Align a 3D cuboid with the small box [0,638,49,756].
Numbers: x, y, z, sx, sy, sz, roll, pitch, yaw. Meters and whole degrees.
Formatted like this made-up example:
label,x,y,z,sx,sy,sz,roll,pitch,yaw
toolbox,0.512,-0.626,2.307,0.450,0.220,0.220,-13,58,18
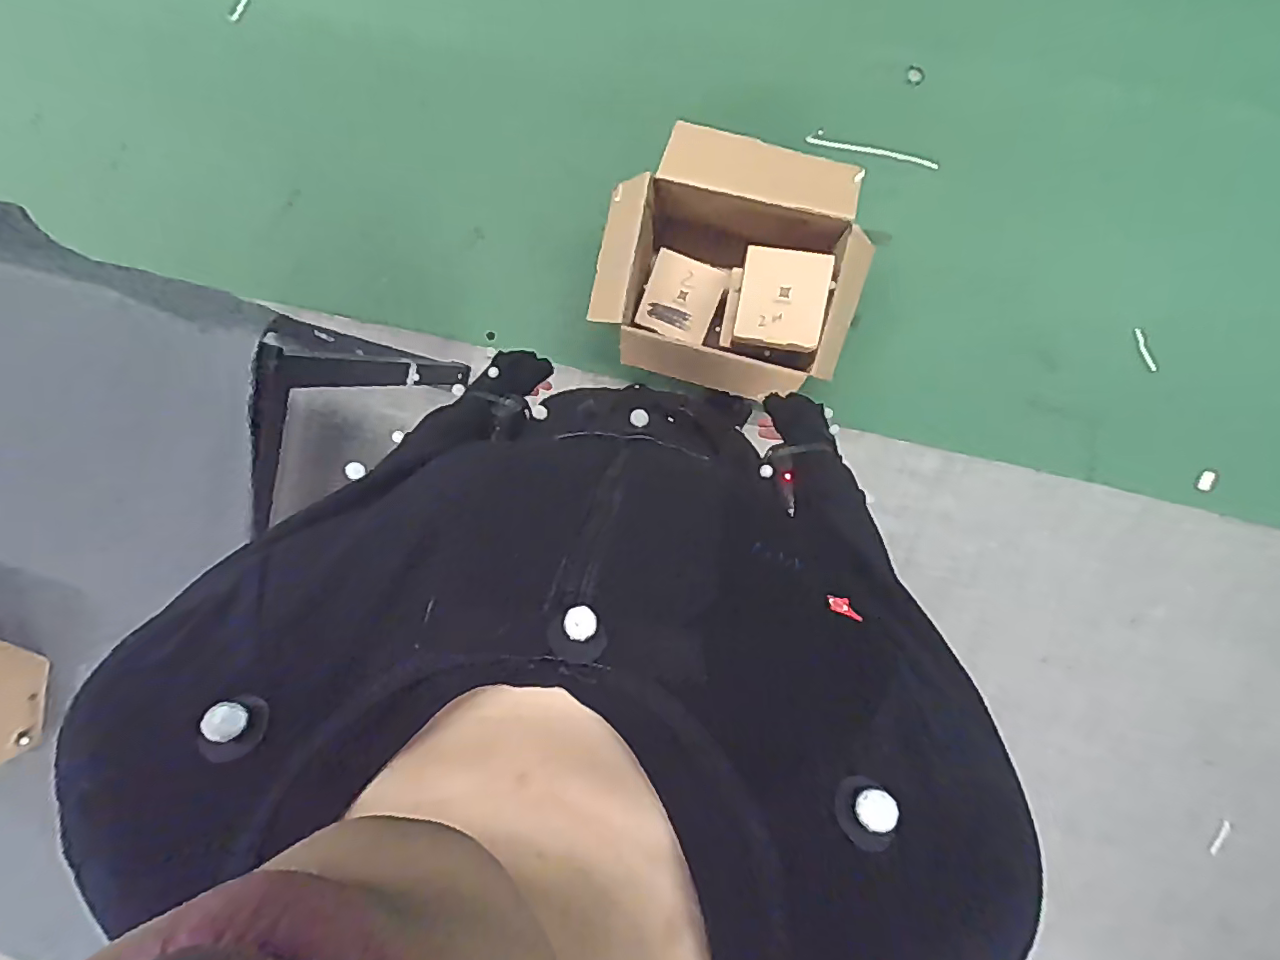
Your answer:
label,x,y,z,sx,sy,sz,roll,pitch,yaw
small box,-1.055,0.340,0.806,0.179,0.176,0.168,19,101,1
